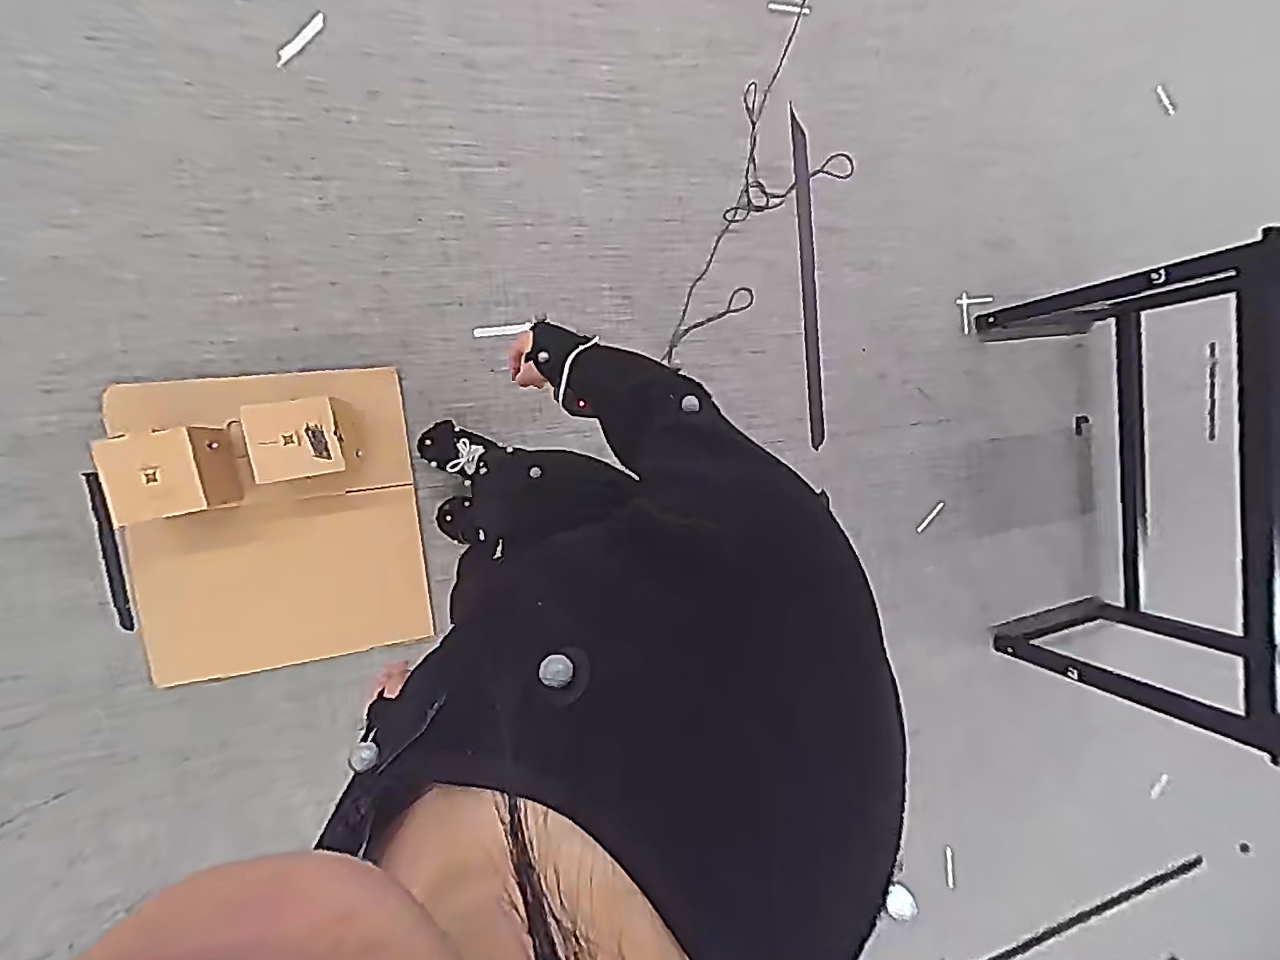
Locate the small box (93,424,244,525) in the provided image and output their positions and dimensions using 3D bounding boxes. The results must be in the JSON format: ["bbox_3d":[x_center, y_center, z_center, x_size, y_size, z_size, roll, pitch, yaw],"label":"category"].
[{"bbox_3d":[-0.990,-0.016,1.154,0.168,0.176,0.179,-13,98,-14],"label":"small box"}]

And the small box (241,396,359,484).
[{"bbox_3d":[-0.750,-0.092,1.217,0.179,0.176,0.168,-11,96,-15],"label":"small box"}]
